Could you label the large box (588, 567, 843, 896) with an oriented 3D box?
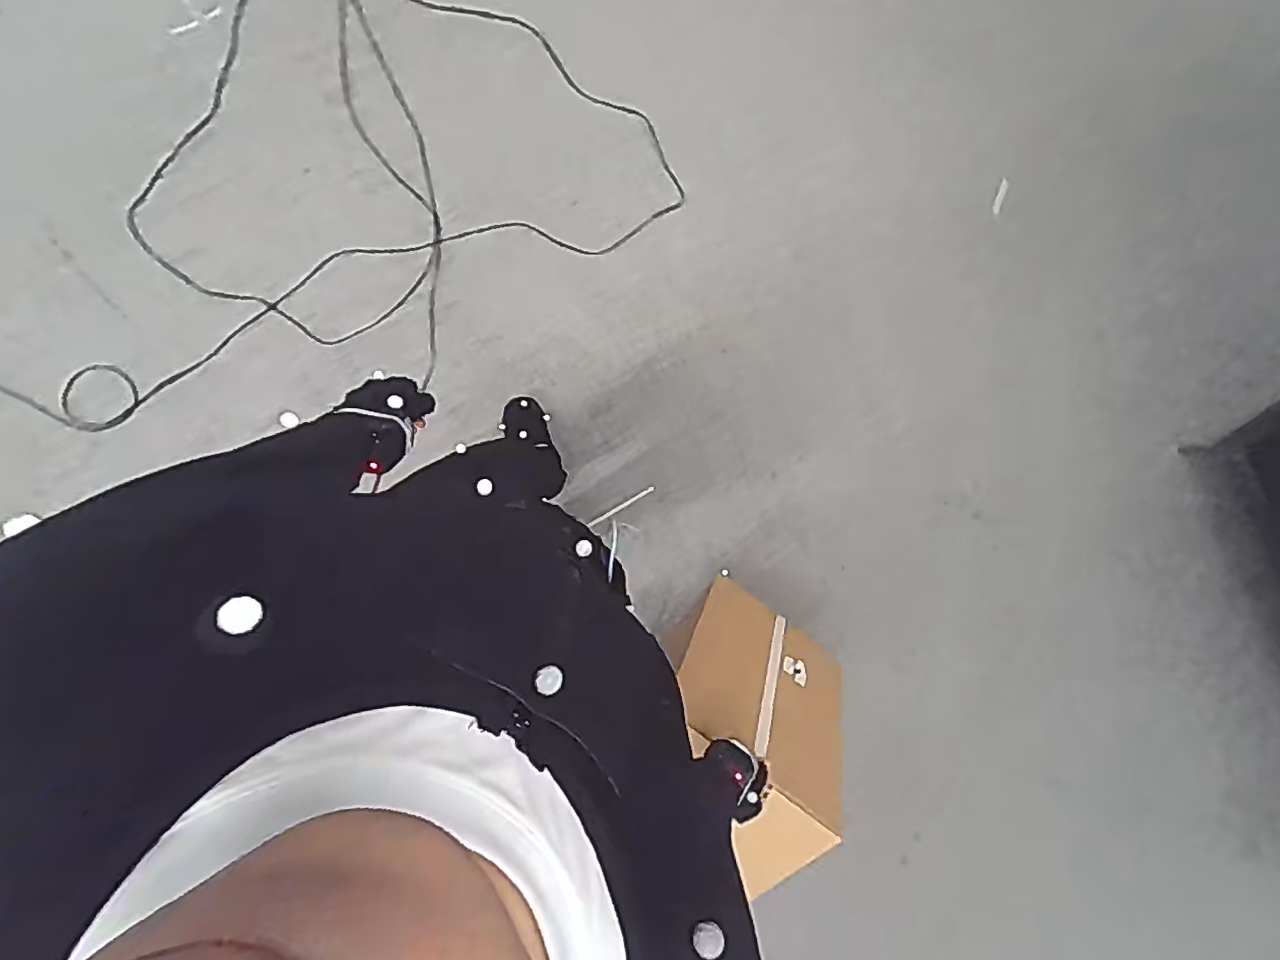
[{"bbox_3d":[0.155,0.449,1.031,0.320,0.408,0.320,35,117,4],"label":"large box"}]
